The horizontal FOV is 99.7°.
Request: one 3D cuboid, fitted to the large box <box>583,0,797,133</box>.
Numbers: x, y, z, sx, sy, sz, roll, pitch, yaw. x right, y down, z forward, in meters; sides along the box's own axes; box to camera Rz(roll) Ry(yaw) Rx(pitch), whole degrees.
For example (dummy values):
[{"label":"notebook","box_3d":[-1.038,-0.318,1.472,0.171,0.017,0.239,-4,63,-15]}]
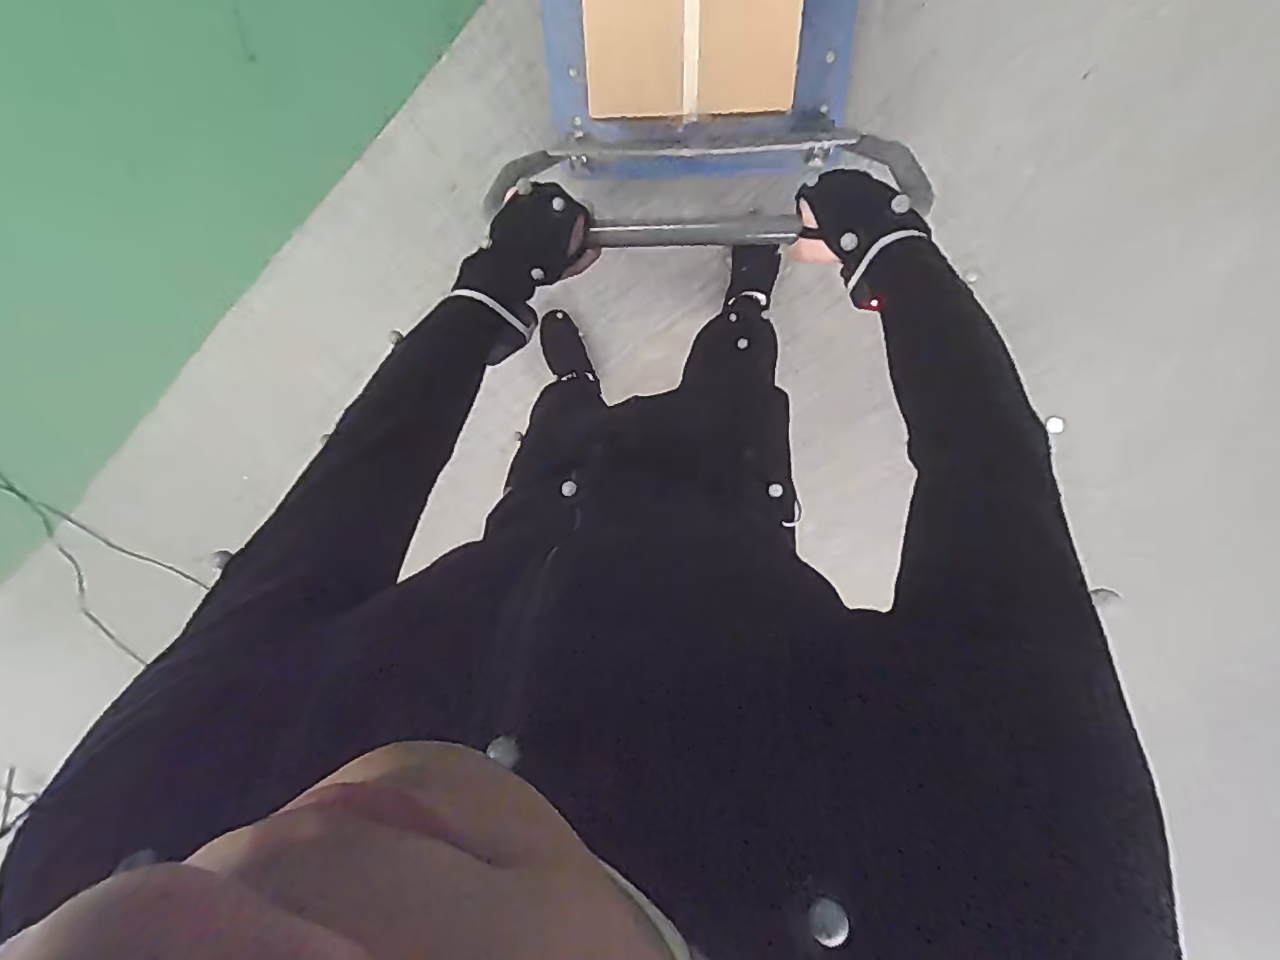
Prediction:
[{"label":"large box","box_3d":[0.084,-0.811,0.878,0.320,0.320,0.408,2,121,5]}]
